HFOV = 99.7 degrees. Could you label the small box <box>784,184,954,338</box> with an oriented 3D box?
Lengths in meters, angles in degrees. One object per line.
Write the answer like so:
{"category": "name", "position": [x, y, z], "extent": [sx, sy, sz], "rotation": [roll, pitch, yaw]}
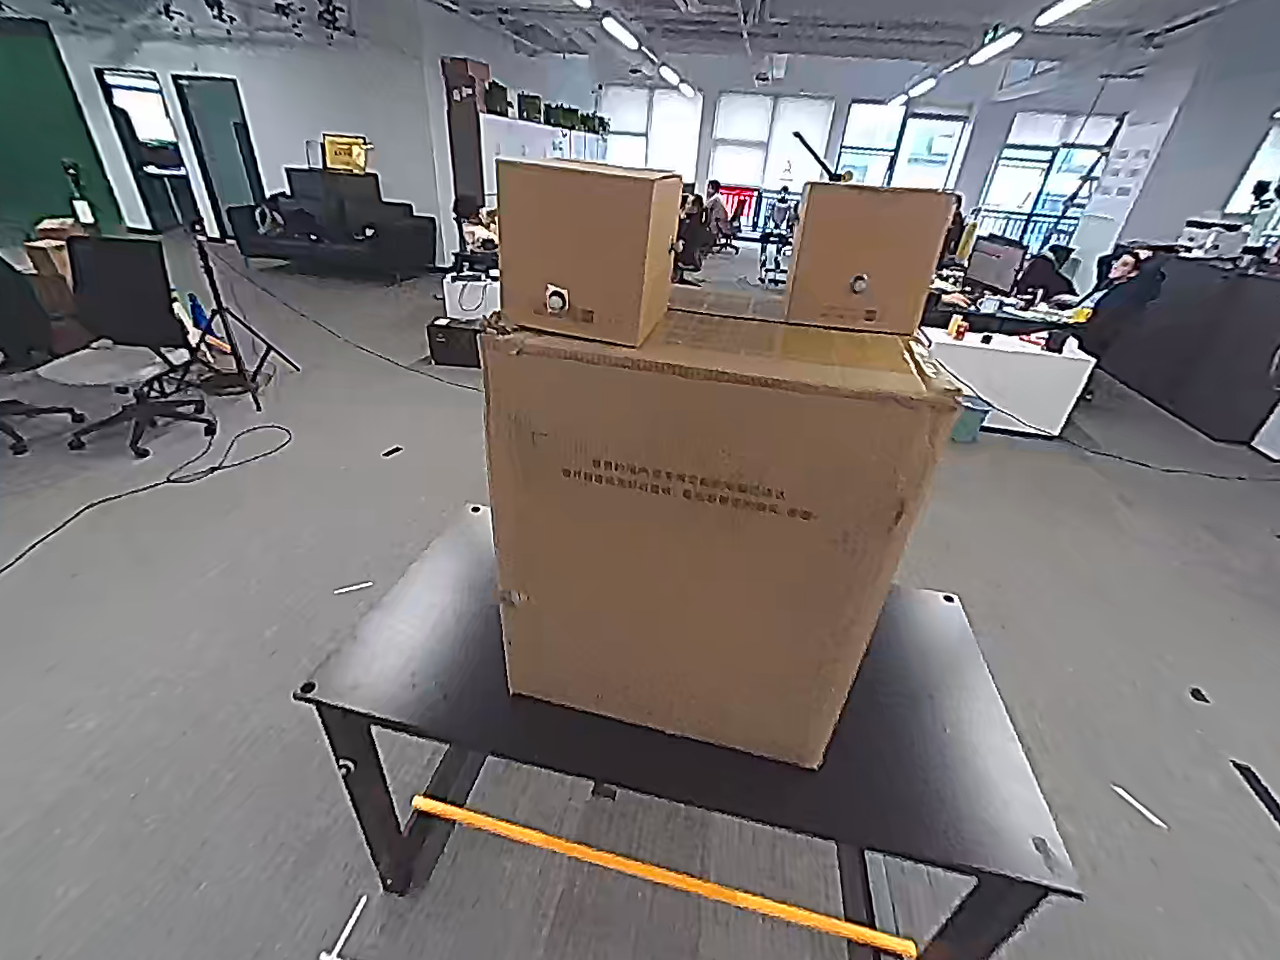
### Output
{"category": "small box", "position": [0.296, -0.304, 0.745], "extent": [0.168, 0.176, 0.179], "rotation": [8, 29, 9]}

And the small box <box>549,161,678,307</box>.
{"category": "small box", "position": [-0.040, -0.372, 0.816], "extent": [0.168, 0.176, 0.179], "rotation": [8, 30, 3]}
